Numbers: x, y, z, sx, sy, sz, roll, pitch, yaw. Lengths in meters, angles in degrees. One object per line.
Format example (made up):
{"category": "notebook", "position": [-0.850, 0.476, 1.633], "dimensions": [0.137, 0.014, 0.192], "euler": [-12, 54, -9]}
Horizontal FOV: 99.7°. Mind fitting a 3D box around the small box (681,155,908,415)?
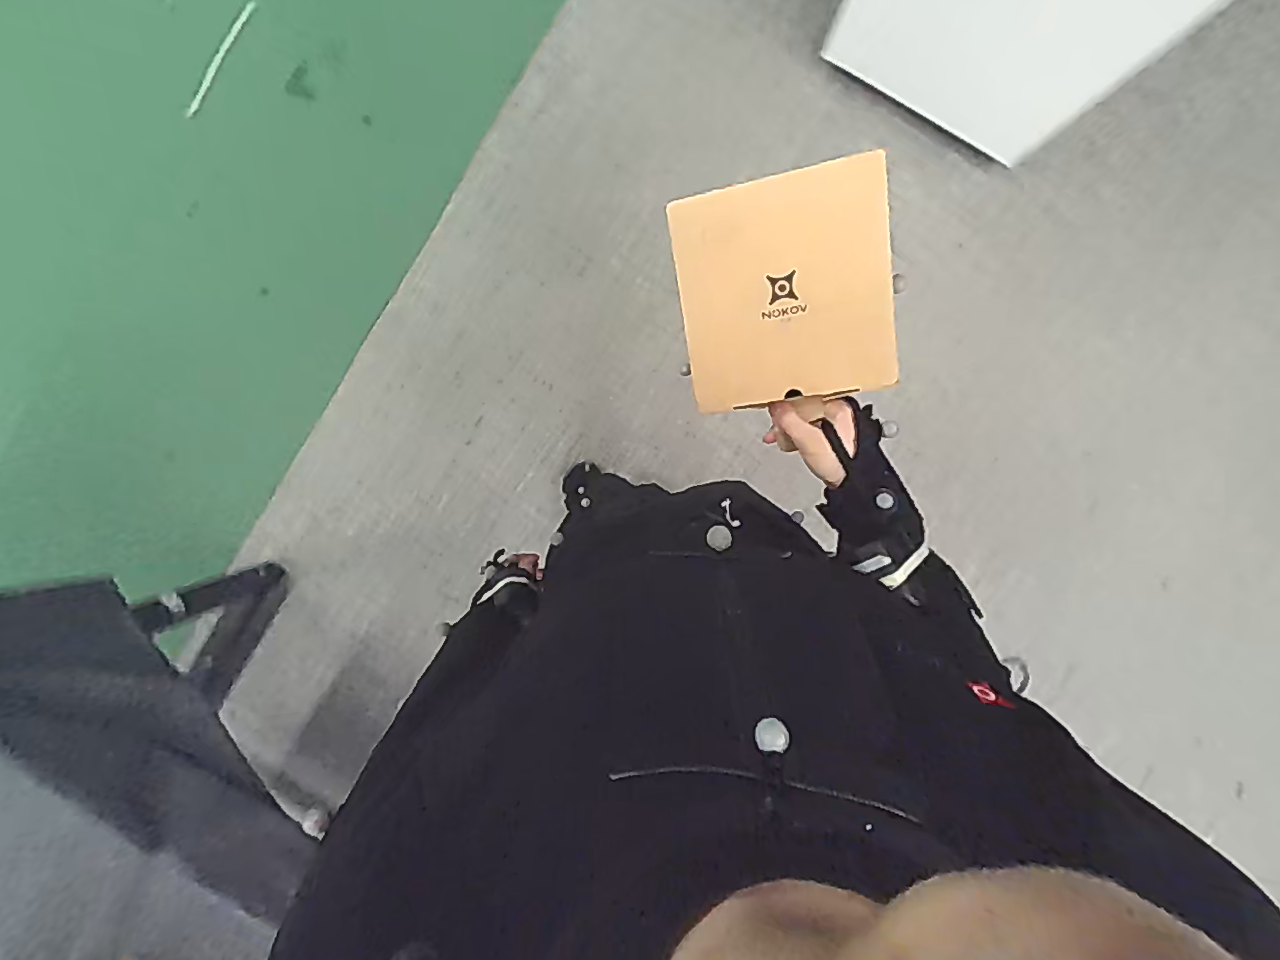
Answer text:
{"category": "small box", "position": [0.140, -0.168, 0.507], "dimensions": [0.168, 0.176, 0.179], "euler": [-6, 105, 16]}
